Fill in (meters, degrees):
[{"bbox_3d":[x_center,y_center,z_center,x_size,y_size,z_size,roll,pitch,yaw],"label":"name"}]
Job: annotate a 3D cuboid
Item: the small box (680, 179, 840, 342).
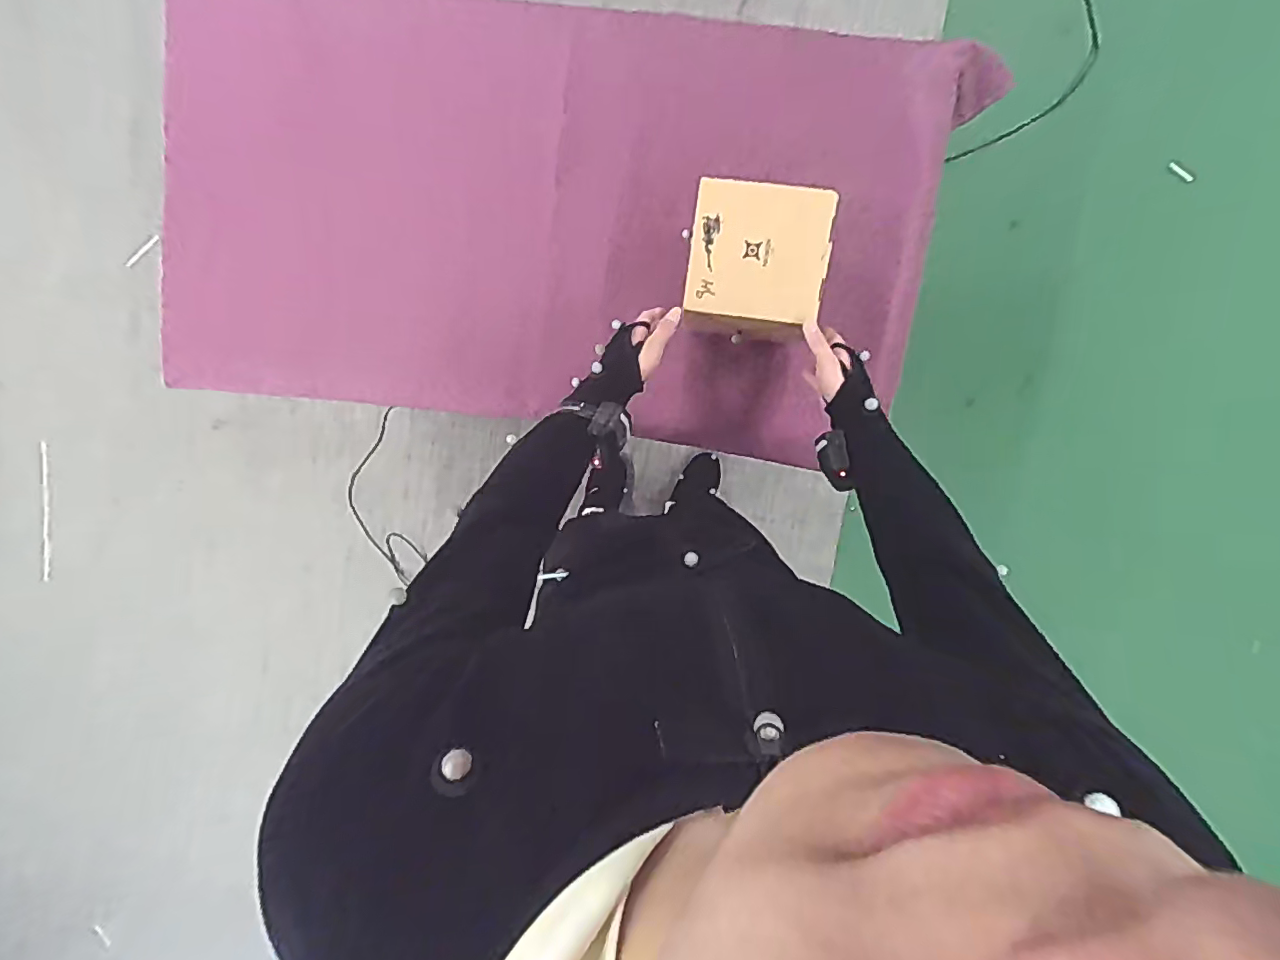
[{"bbox_3d":[0.156,-0.294,0.761,0.179,0.176,0.168,8,97,2],"label":"small box"}]
